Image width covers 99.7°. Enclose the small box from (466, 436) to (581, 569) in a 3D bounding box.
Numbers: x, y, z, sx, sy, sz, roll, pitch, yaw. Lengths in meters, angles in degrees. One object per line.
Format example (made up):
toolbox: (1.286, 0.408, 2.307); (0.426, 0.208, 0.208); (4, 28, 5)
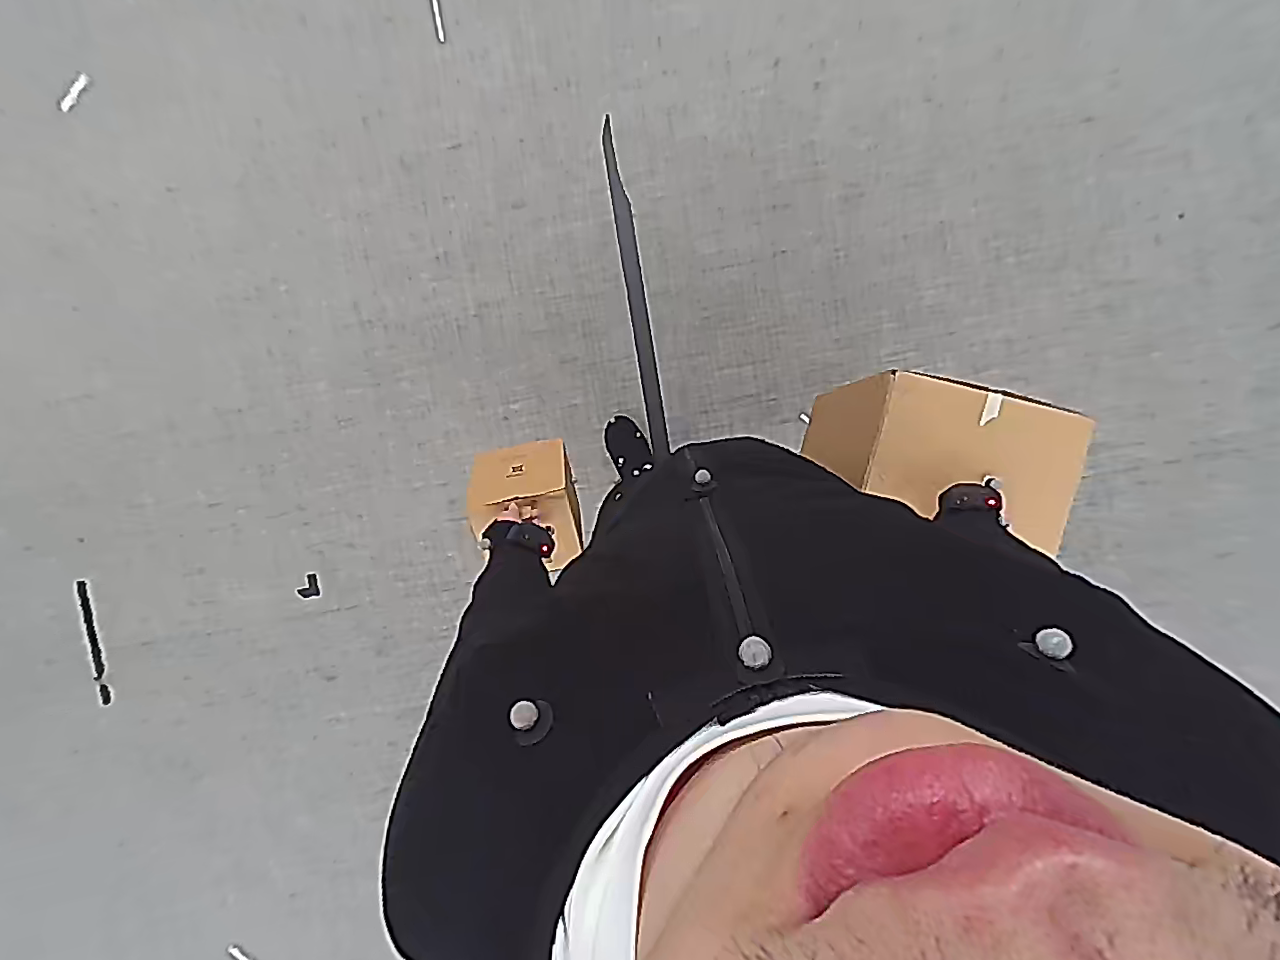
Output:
small box: (-0.206, 0.045, 0.990); (0.168, 0.179, 0.176); (-11, 126, -4)
